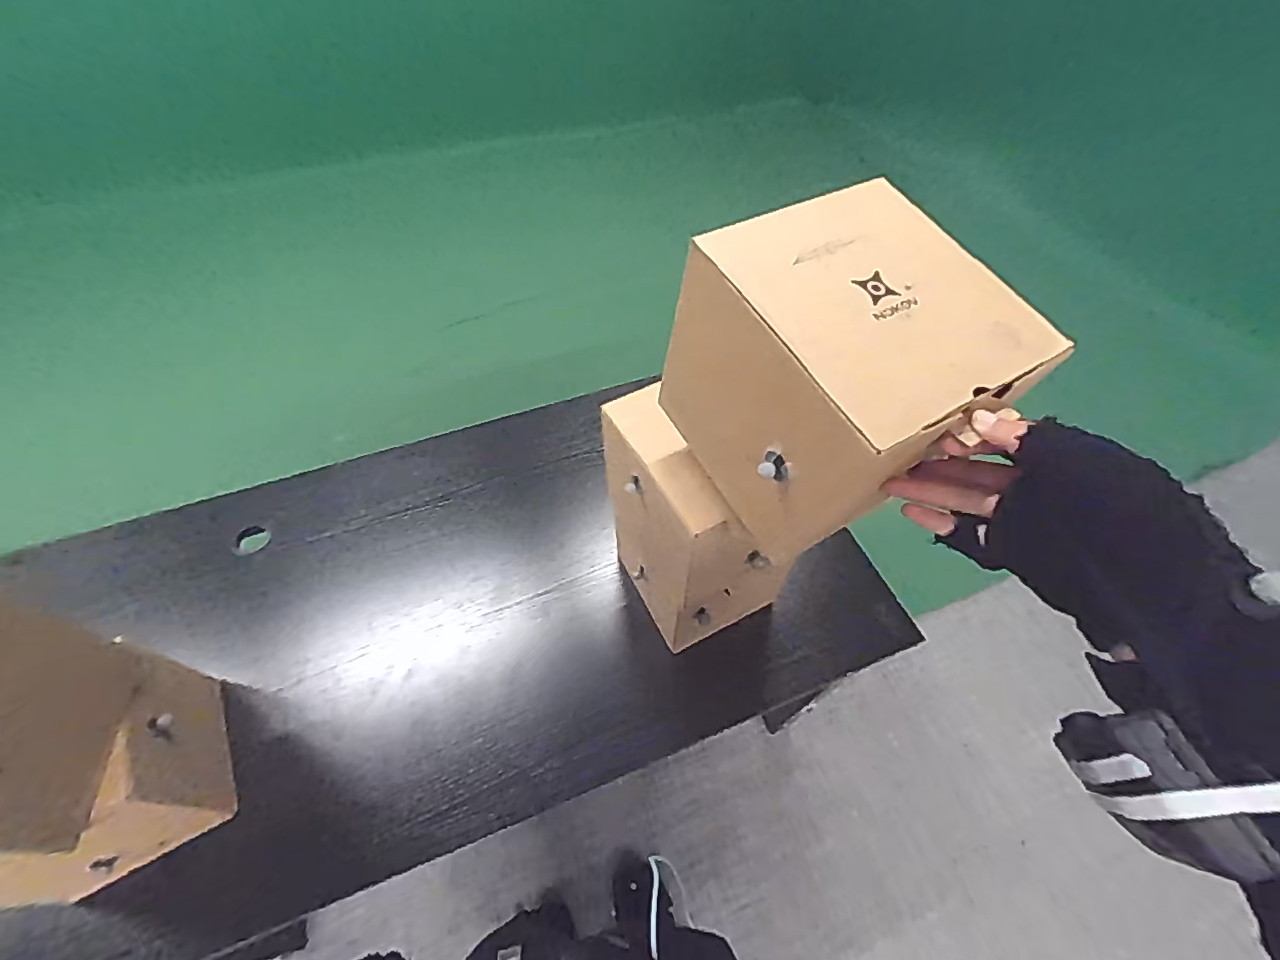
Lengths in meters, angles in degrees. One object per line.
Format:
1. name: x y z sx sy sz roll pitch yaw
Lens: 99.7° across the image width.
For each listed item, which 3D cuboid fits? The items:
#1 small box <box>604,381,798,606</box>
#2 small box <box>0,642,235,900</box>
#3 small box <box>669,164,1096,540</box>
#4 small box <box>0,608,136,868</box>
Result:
1. small box: 0.072 0.004 0.587 0.168 0.176 0.179 -25 59 -16
2. small box: -0.571 0.309 0.571 0.168 0.176 0.179 -25 60 -17
3. small box: 0.139 -0.076 0.381 0.168 0.176 0.179 -25 67 -18
4. small box: -0.572 0.217 0.435 0.168 0.176 0.179 -7 56 -6
